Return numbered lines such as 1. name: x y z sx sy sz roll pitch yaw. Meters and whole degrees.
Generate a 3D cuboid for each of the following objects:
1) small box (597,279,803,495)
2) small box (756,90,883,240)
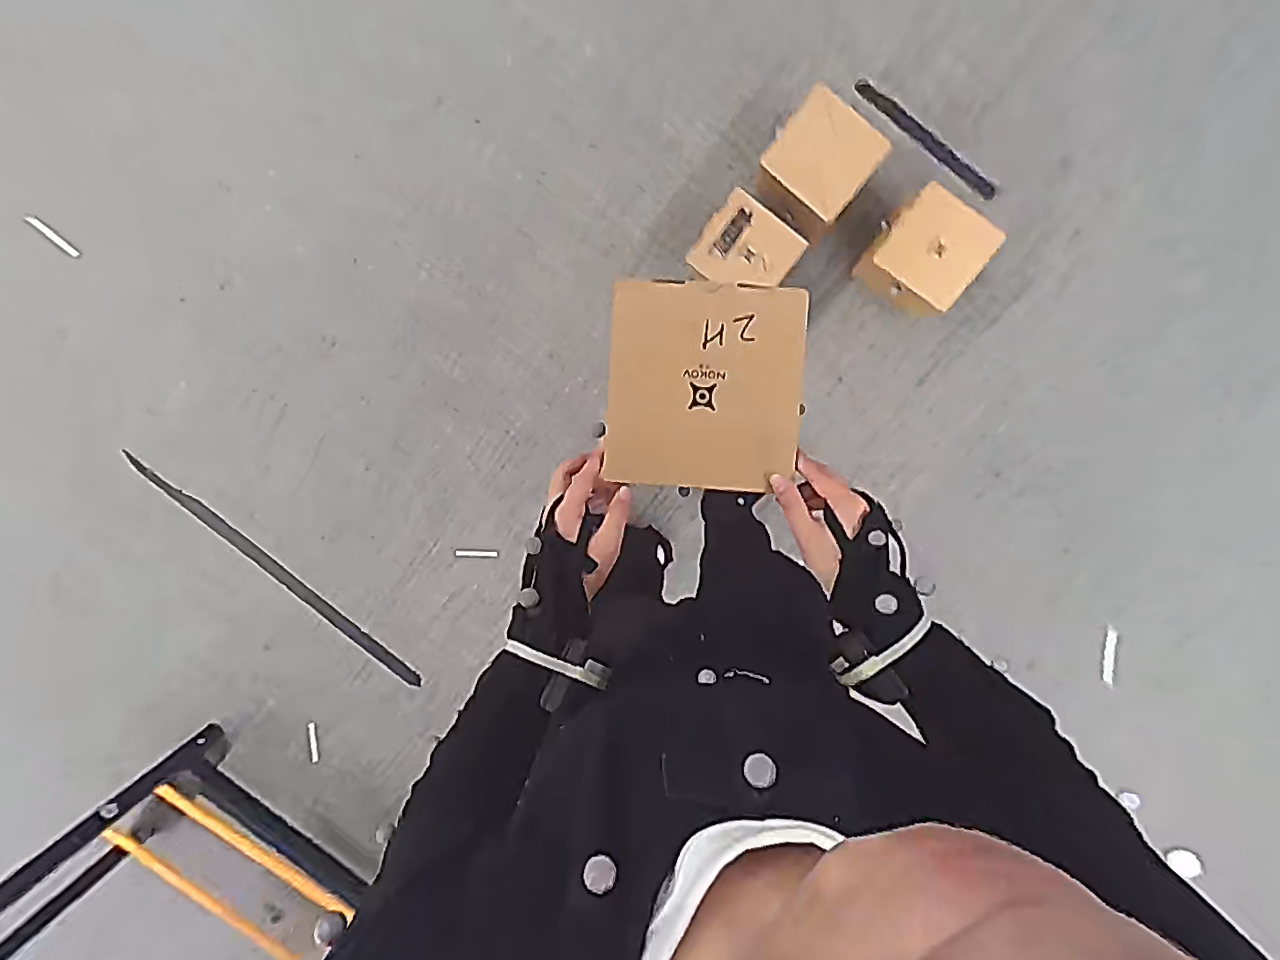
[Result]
1. small box: 0.052 -0.084 0.536 0.168 0.176 0.179 3 93 1
2. small box: 0.352 -0.613 1.072 0.179 0.176 0.168 40 104 -3
